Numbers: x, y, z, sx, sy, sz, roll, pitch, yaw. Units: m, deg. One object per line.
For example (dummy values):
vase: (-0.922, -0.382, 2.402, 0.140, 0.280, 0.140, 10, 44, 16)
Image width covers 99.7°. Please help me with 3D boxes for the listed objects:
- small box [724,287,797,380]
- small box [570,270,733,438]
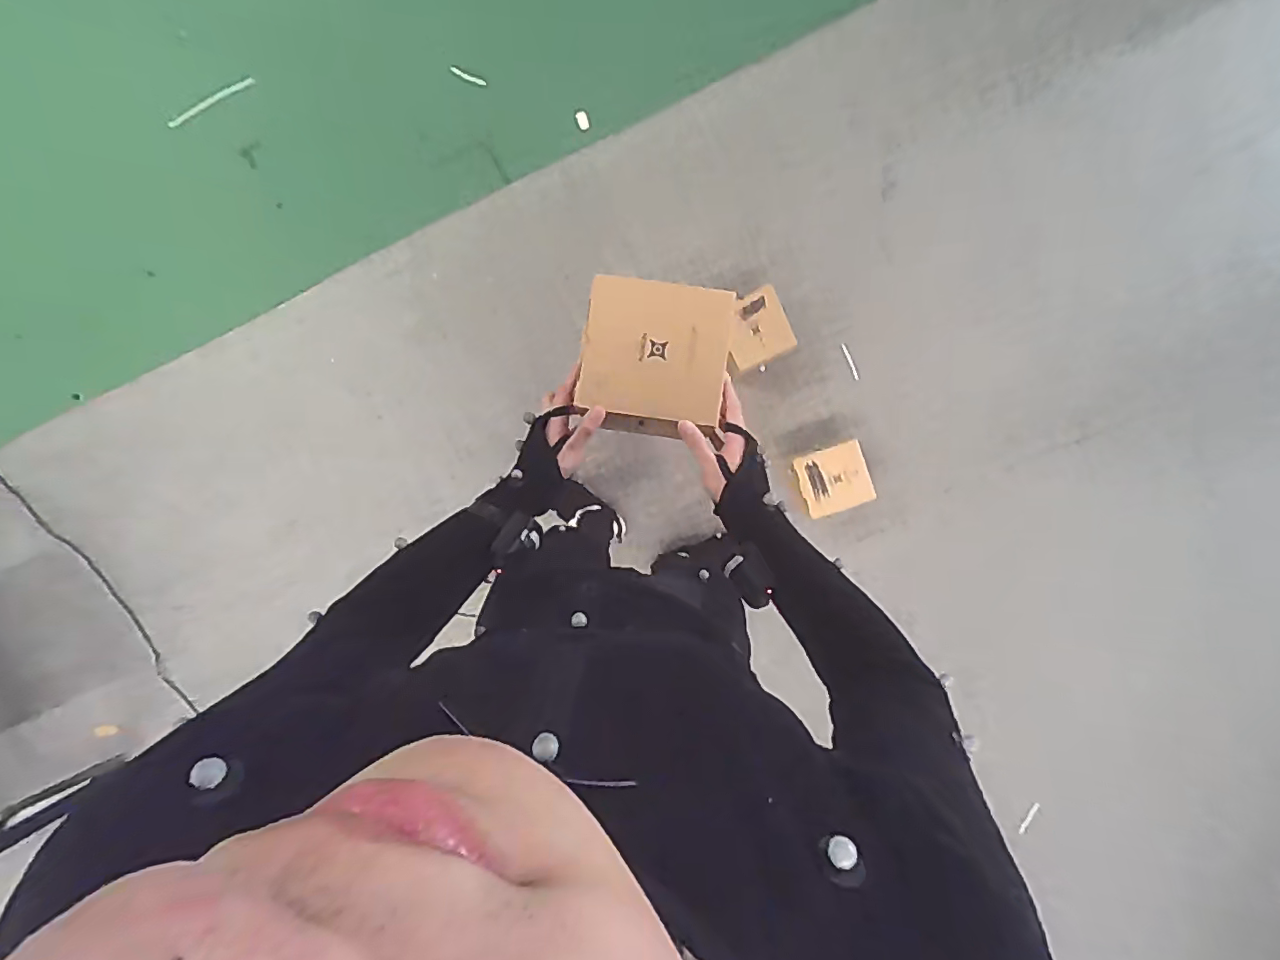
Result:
small box: (0.303, -0.392, 1.478, 0.168, 0.176, 0.179, -24, 91, 6)
small box: (0.016, -0.155, 0.719, 0.179, 0.176, 0.168, 8, 87, 1)
